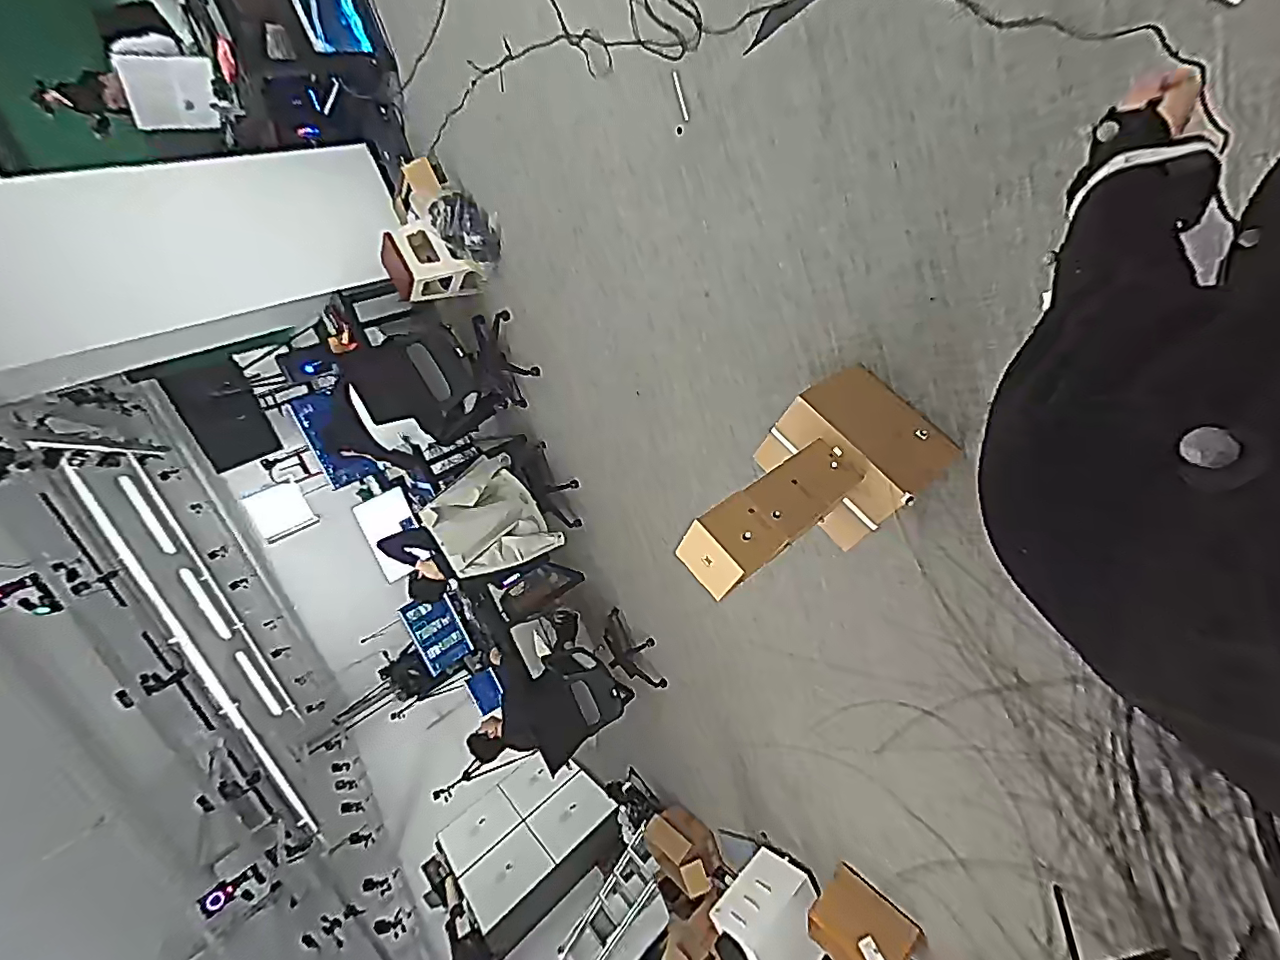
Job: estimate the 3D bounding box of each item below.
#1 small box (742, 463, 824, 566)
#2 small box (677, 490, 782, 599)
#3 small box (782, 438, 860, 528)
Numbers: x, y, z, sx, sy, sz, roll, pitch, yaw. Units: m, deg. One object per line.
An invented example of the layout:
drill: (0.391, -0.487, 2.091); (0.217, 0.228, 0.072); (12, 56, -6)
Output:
small box: (0.347, 0.089, 1.415); (0.168, 0.176, 0.179); (48, 148, 19)
small box: (0.223, 0.154, 1.331); (0.168, 0.176, 0.179); (48, 148, 19)
small box: (0.470, 0.017, 1.495); (0.168, 0.176, 0.179); (49, 147, 19)
